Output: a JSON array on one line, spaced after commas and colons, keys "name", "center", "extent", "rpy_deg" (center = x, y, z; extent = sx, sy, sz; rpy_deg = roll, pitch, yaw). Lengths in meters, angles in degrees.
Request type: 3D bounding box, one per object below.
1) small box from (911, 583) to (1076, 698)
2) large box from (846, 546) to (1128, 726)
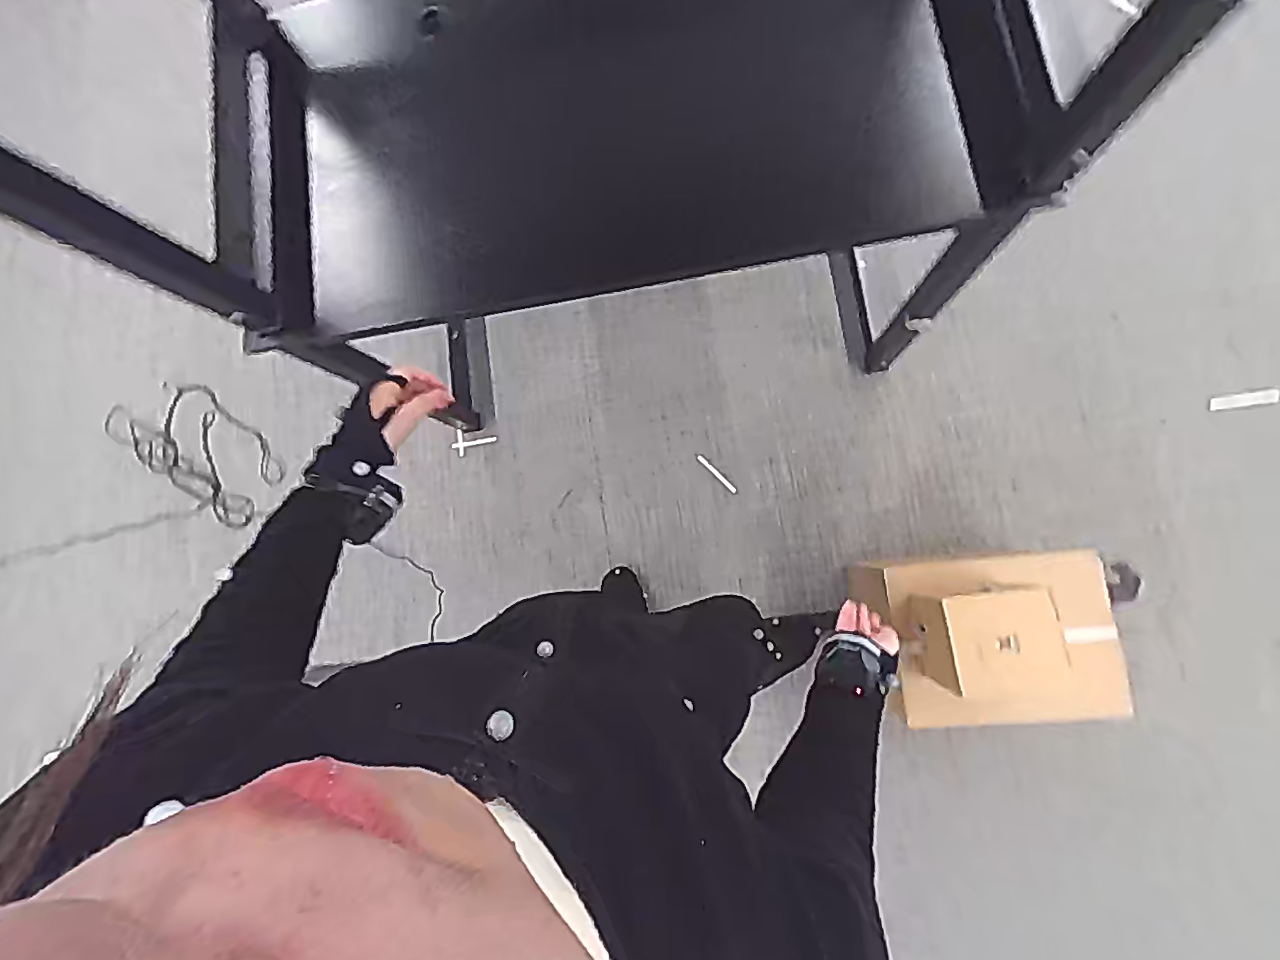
[{"name": "small box", "center": [0.614, 0.277, 0.961], "extent": [0.179, 0.176, 0.168], "rpy_deg": [-8, 80, 7]}, {"name": "large box", "center": [0.716, 0.321, 1.191], "extent": [0.408, 0.320, 0.320], "rpy_deg": [-6, 83, 6]}]
